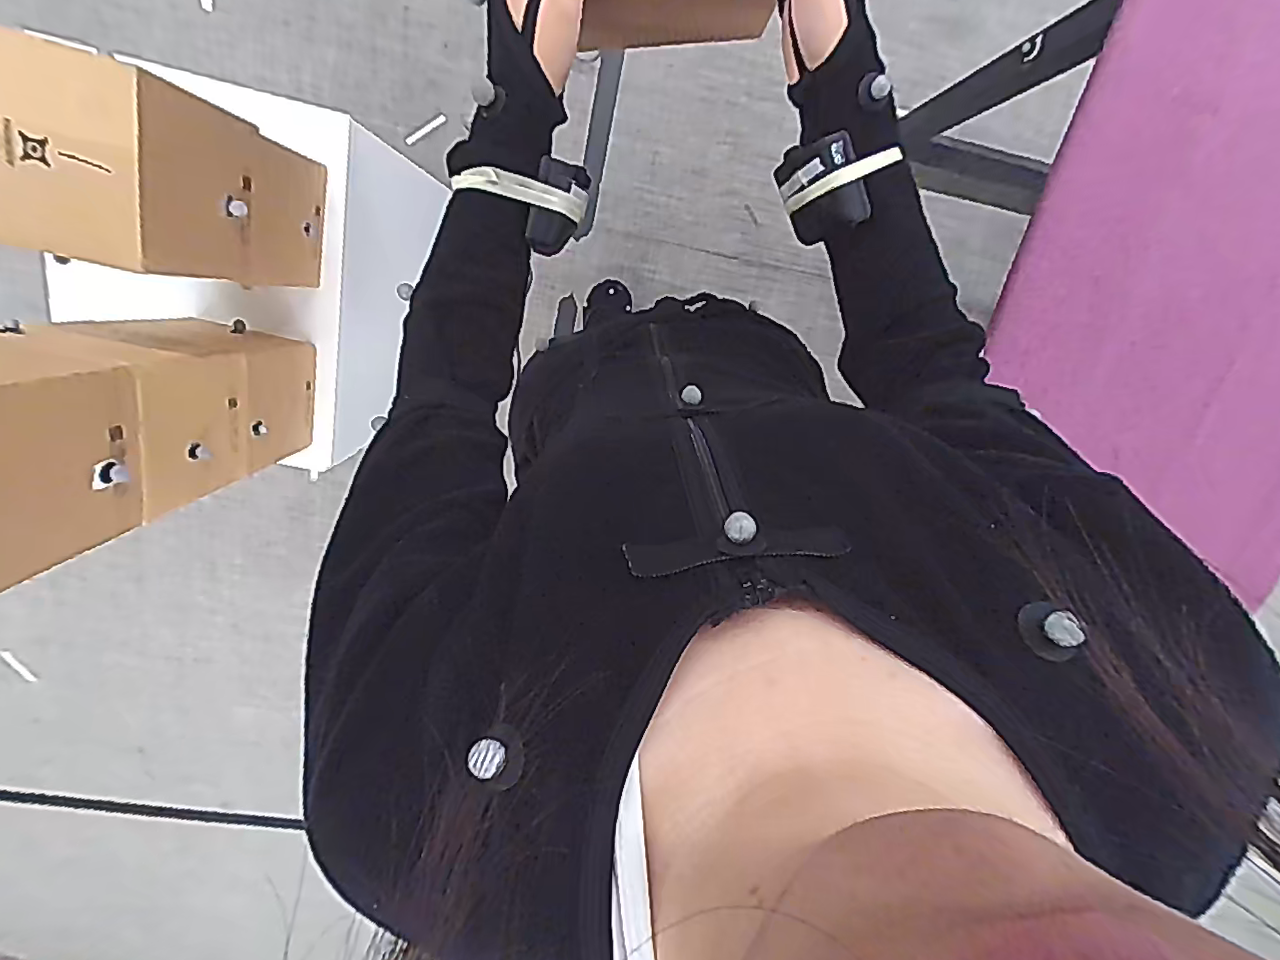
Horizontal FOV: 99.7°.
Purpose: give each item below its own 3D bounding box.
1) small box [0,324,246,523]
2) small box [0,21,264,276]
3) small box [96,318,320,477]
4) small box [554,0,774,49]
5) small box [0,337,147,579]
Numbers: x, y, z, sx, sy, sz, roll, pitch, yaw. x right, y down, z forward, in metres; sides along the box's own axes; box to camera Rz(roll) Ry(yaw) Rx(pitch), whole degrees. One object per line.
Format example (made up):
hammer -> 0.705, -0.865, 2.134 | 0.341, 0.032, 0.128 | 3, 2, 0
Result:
small box -> -0.567, -0.071, 0.590 | 0.179, 0.176, 0.168 | 10, 107, -6
small box -> -0.505, -0.300, 0.517 | 0.179, 0.176, 0.168 | 13, 108, -9
small box -> -0.578, -0.121, 0.744 | 0.179, 0.176, 0.168 | 12, 108, -6
small box -> 0.019, -0.428, 0.367 | 0.179, 0.176, 0.168 | -3, 108, 1
small box -> -0.560, -0.022, 0.435 | 0.179, 0.176, 0.168 | 10, 108, -7
